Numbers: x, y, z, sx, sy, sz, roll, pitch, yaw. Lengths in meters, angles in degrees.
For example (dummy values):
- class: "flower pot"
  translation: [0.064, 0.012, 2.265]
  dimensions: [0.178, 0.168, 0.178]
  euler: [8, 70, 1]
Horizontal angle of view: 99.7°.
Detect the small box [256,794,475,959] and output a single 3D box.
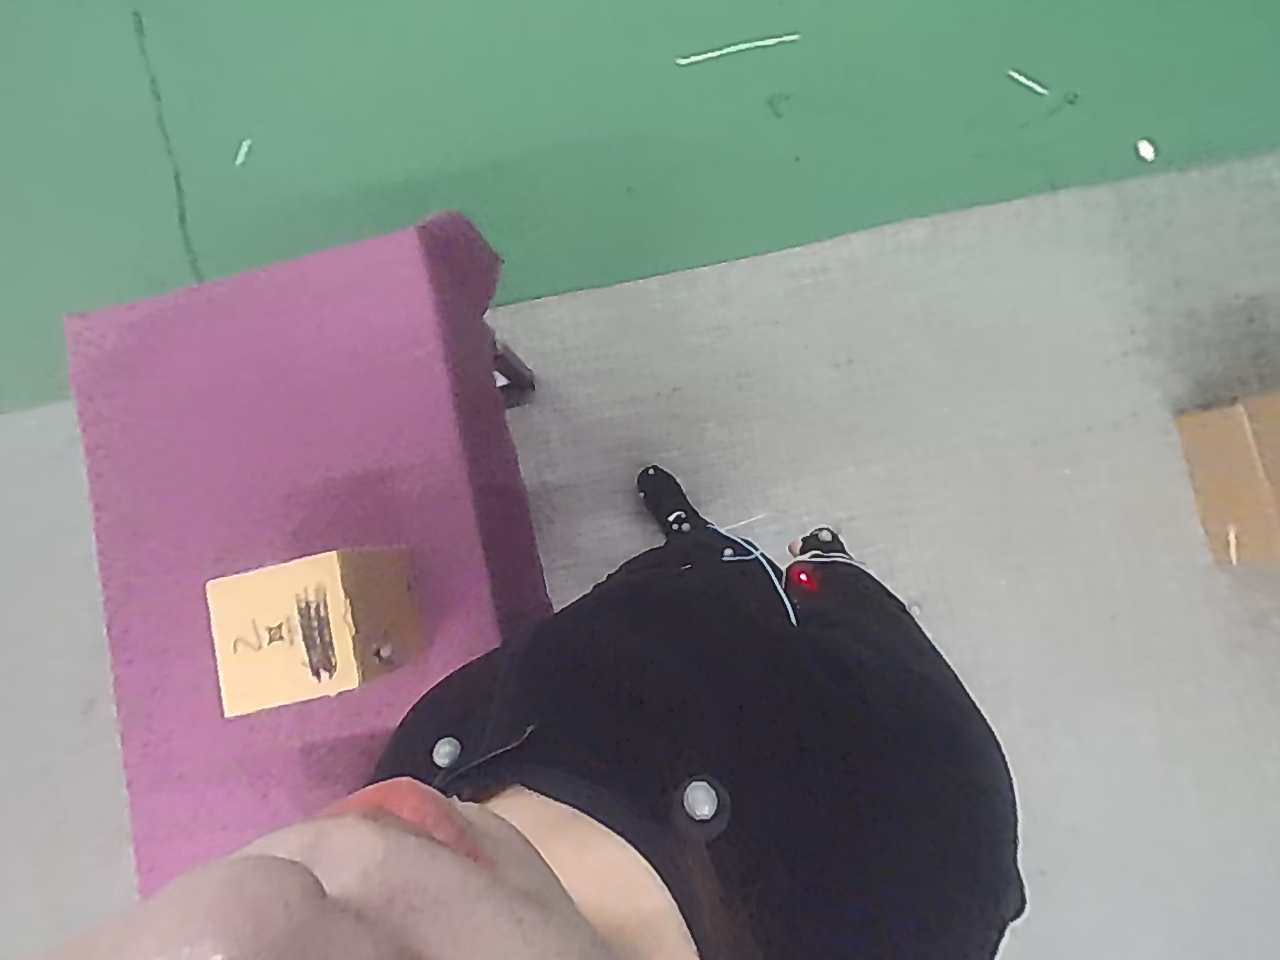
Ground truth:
- class: "small box"
  translation: [-0.332, 0.530, 0.682]
  dimensions: [0.179, 0.176, 0.168]
  euler: [-13, 84, 3]
